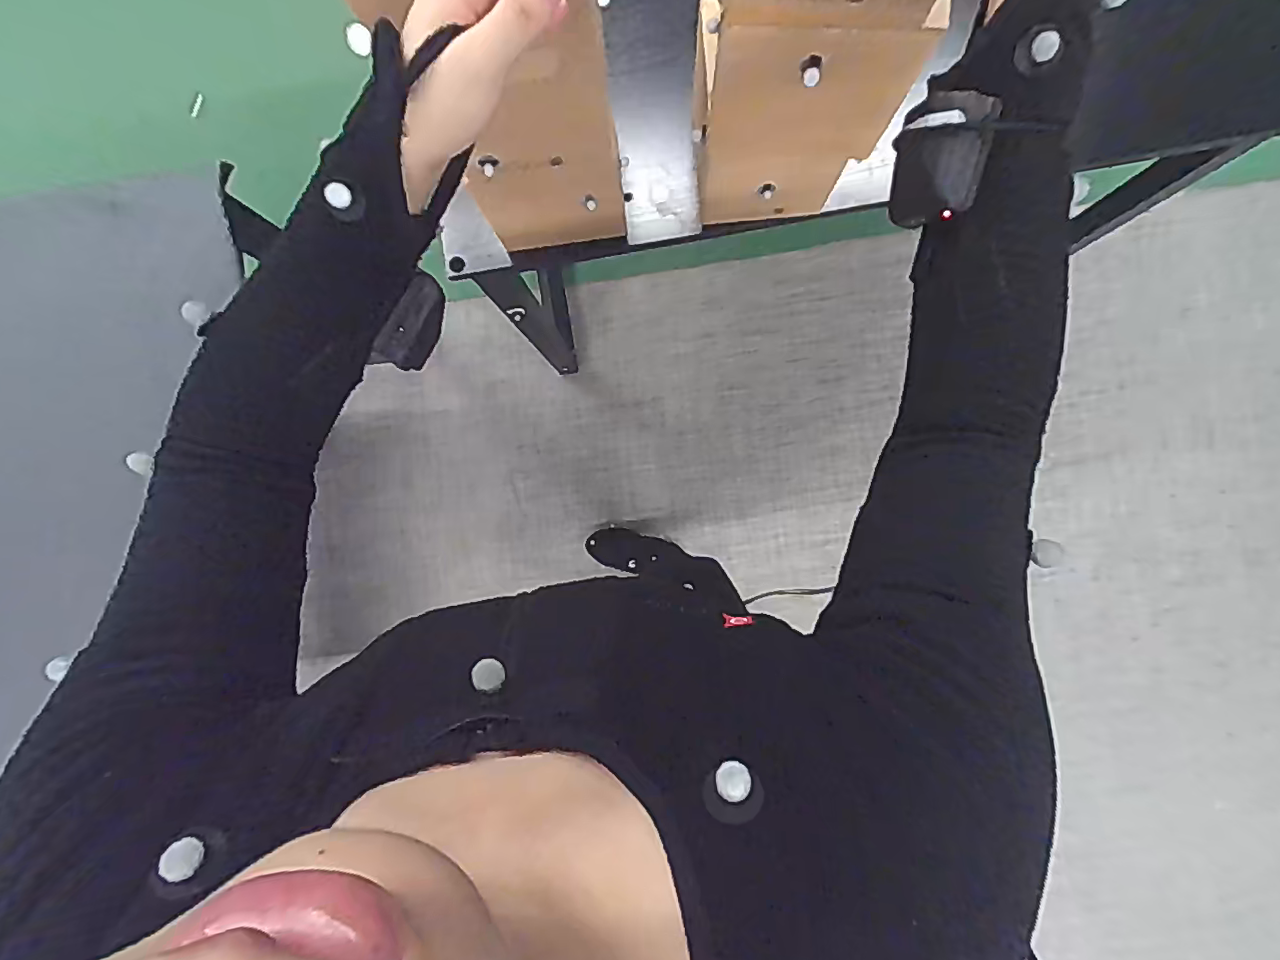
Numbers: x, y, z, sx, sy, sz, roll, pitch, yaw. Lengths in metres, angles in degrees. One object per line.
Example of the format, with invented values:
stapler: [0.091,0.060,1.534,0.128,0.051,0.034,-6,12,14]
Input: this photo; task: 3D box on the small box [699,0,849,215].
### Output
small box: [0.163,-0.449,0.668,0.168,0.176,0.179,-4,88,2]

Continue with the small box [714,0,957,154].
small box: [0.169,-0.434,0.504,0.179,0.176,0.168,4,89,3]

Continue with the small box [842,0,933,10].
small box: [0.152,-0.452,0.342,0.168,0.176,0.179,7,90,4]

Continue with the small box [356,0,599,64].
small box: [-0.121,-0.421,0.355,0.179,0.176,0.168,-5,87,3]

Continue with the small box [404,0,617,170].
small box: [-0.115,-0.425,0.517,0.168,0.176,0.179,-5,87,2]
